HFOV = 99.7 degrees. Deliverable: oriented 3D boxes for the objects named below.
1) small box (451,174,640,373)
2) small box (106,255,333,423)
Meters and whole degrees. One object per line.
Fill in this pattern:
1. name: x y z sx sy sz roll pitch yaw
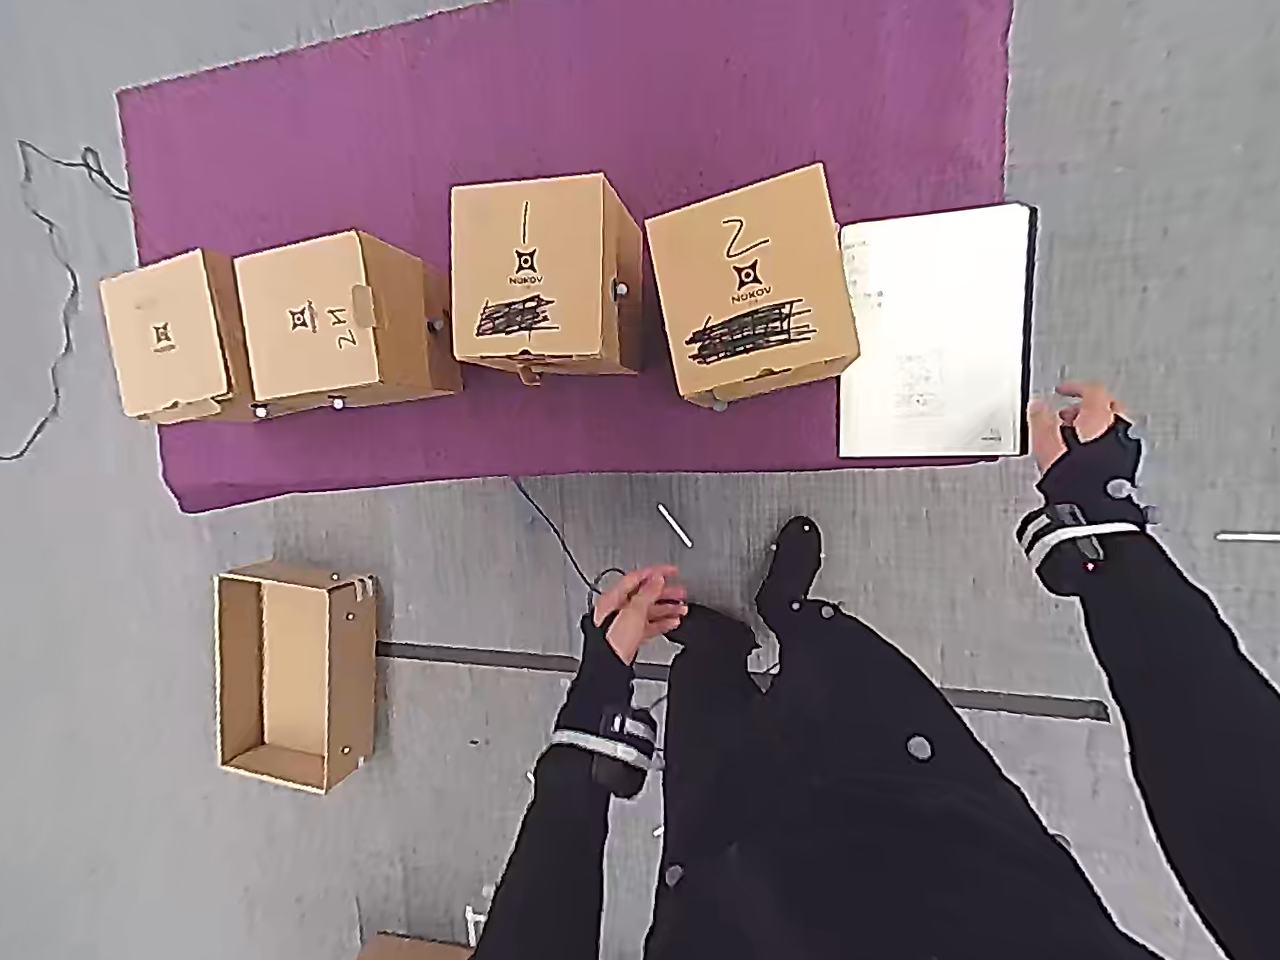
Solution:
1. small box: -0.097 -0.218 0.622 0.168 0.176 0.179 2 95 13
2. small box: -0.555 -0.177 0.736 0.168 0.176 0.179 -9 93 13
